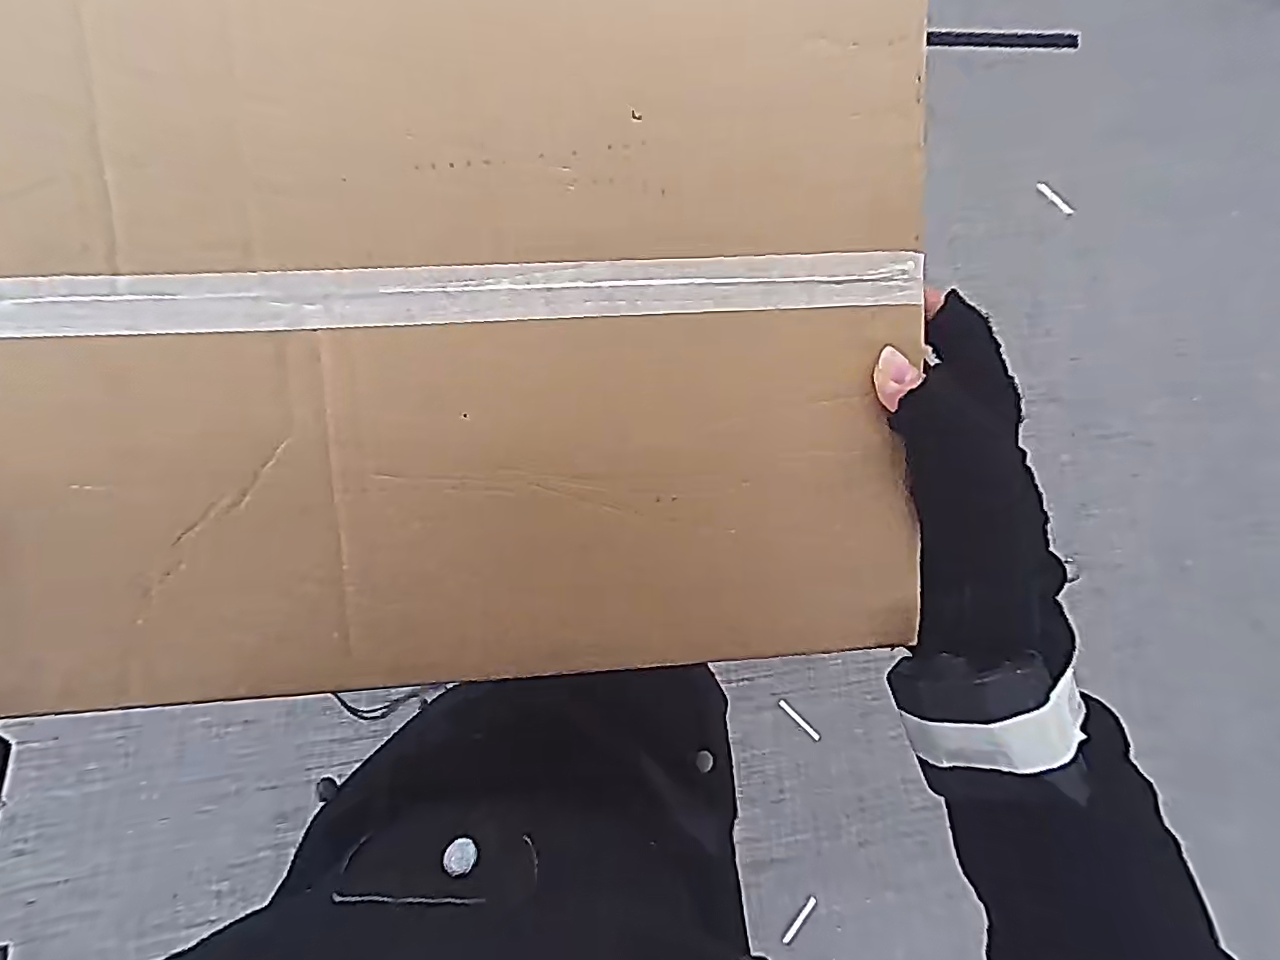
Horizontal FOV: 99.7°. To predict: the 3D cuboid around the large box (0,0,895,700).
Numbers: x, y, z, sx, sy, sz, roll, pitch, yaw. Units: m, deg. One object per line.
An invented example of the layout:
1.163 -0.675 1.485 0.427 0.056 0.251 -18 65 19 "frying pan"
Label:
-0.099 -0.088 0.369 0.408 0.320 0.320 -3 96 -5 "large box"
